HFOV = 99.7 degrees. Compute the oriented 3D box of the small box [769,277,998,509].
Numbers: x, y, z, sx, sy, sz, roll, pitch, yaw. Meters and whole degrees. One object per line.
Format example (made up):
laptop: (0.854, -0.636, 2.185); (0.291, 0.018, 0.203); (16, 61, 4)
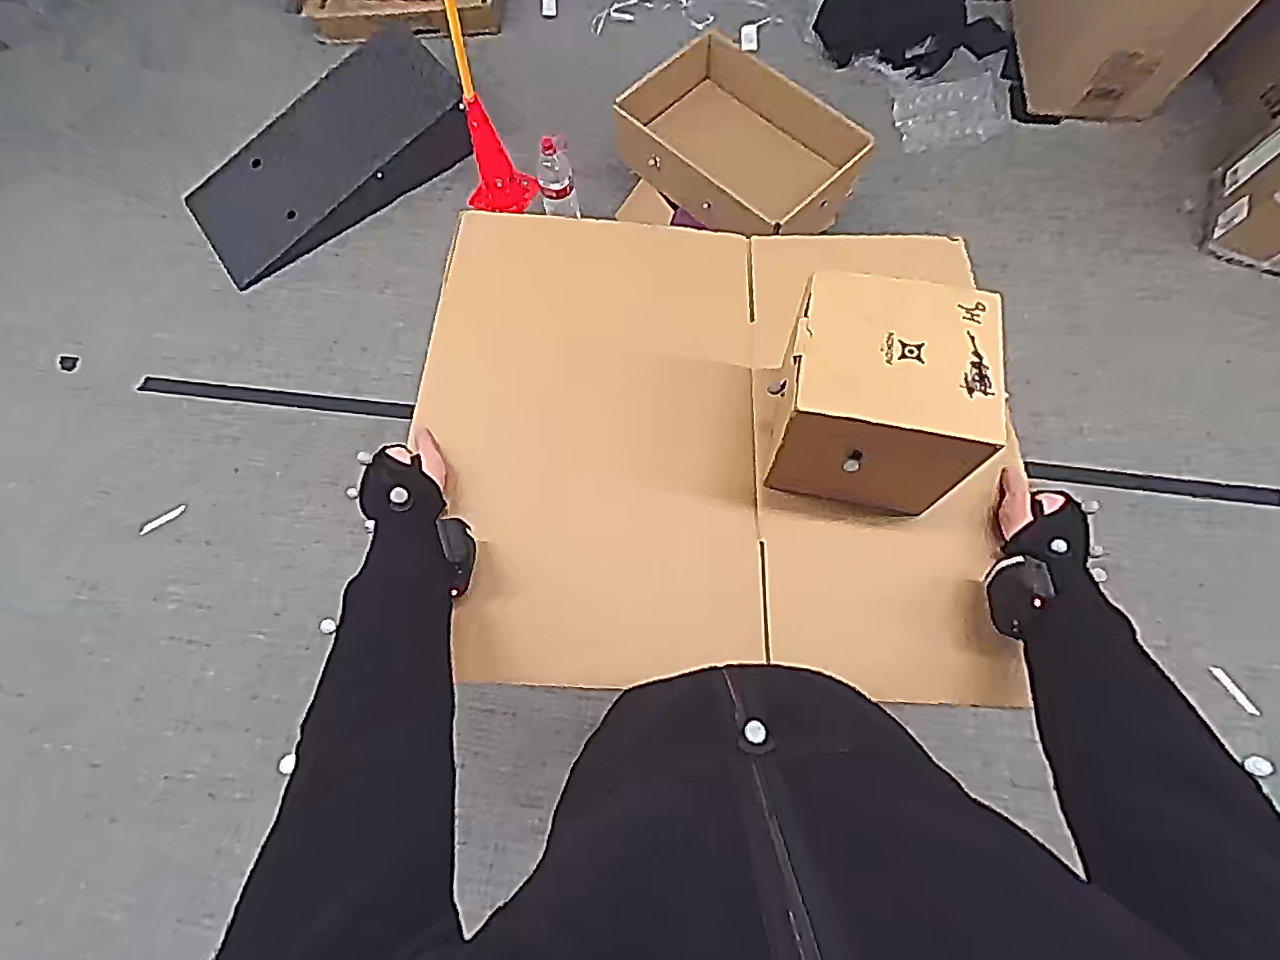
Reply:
small box: (0.240, -0.083, 0.568); (0.179, 0.176, 0.168); (11, 68, 9)
